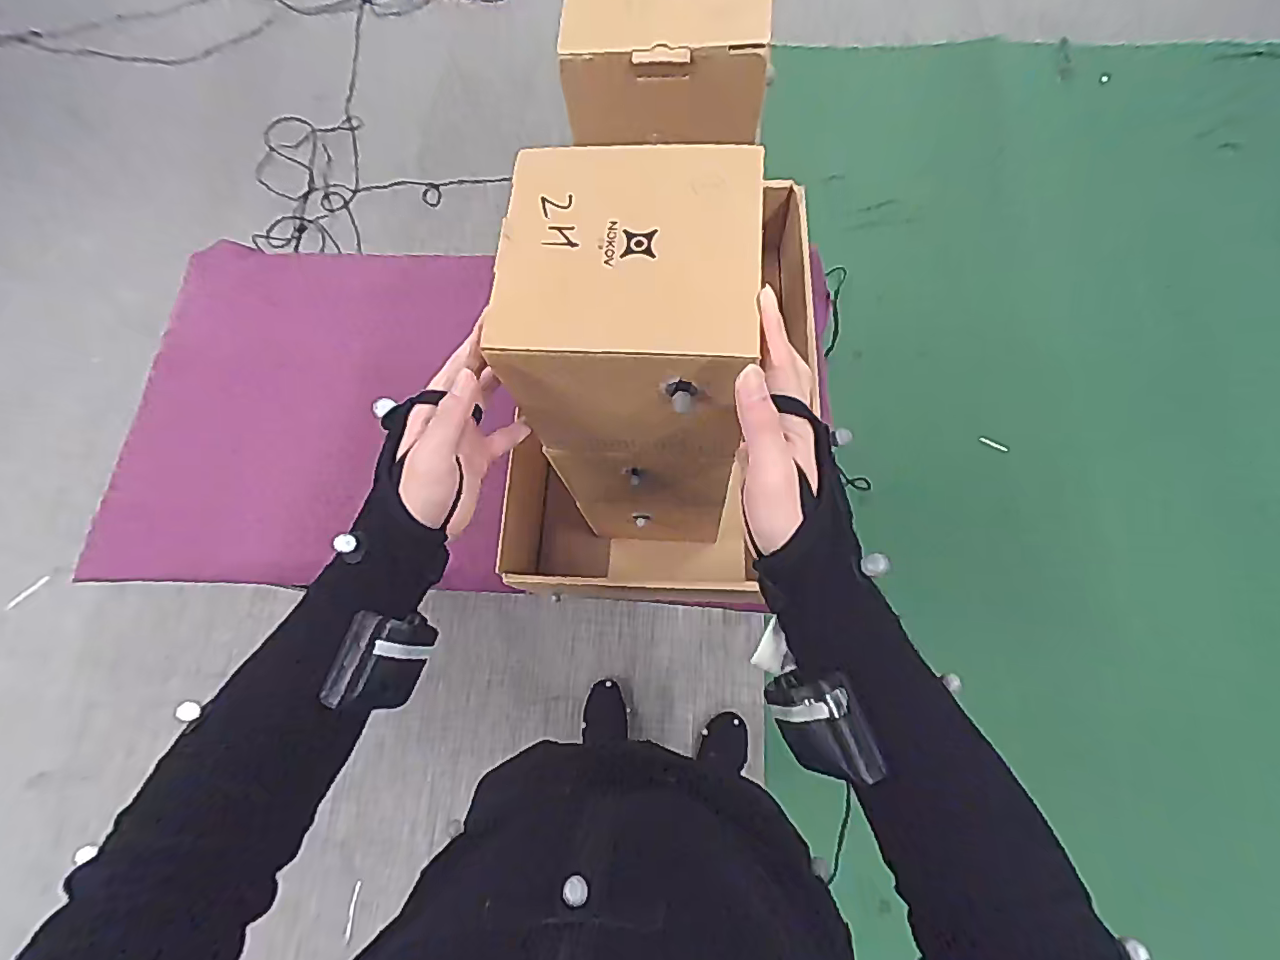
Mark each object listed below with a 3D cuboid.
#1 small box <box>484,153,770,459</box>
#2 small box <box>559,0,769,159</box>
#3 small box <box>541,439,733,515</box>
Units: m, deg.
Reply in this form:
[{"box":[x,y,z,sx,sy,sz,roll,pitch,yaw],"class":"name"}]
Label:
[{"box":[0.001,-0.123,0.429,0.179,0.176,0.168,3,71,6],"class":"small box"},{"box":[0.029,-0.372,0.516,0.168,0.176,0.179,3,73,5],"class":"small box"},{"box":[0.010,-0.065,0.584,0.179,0.176,0.168,4,72,6],"class":"small box"}]
